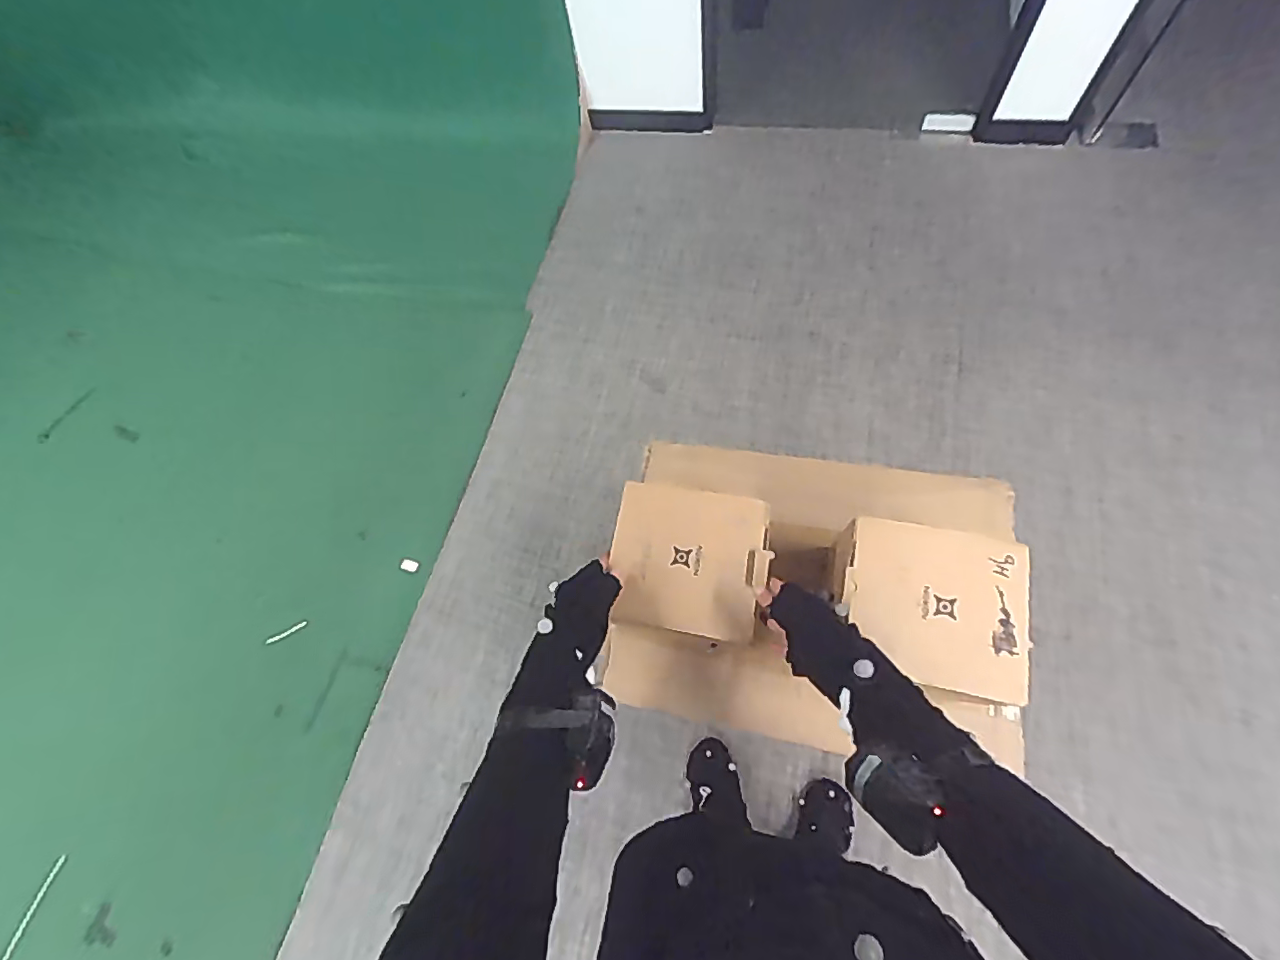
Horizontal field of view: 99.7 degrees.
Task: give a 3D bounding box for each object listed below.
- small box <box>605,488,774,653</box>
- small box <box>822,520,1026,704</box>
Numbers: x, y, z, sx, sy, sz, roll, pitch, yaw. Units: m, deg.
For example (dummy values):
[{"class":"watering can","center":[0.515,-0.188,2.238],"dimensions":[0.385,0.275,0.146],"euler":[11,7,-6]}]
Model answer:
[{"class":"small box","center":[0.069,0.123,0.694],"dimensions":[0.179,0.176,0.168],"euler":[7,69,12]},{"class":"small box","center":[0.322,0.160,0.642],"dimensions":[0.179,0.176,0.168],"euler":[9,72,13]}]
